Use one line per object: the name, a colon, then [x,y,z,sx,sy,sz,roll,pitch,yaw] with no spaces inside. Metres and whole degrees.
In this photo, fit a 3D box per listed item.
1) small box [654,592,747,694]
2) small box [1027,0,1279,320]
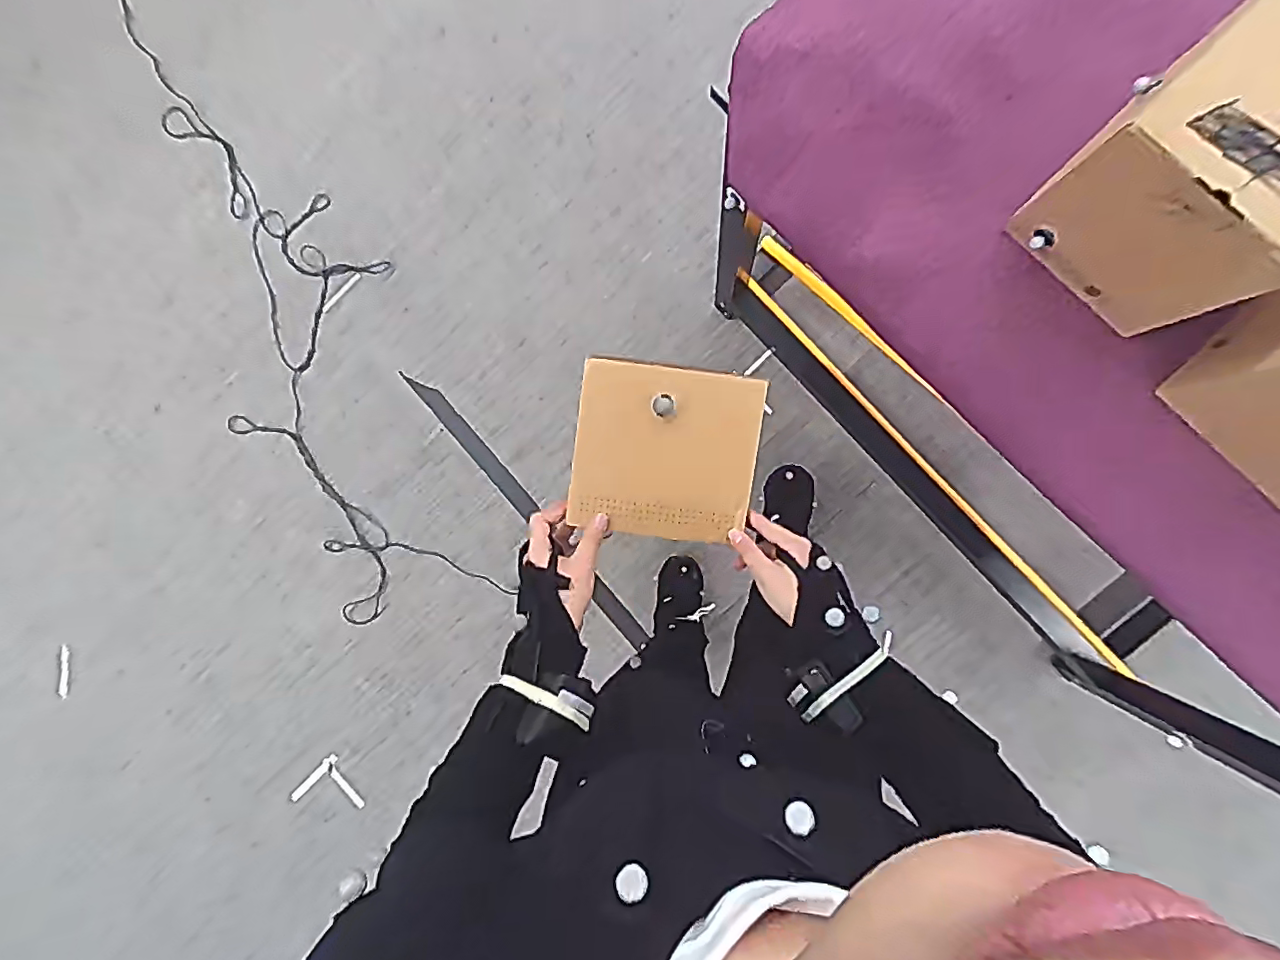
small box: [0.130,0.360,1.215,0.179,0.176,0.168,10,90,2]
small box: [0.476,-0.265,0.453,0.179,0.176,0.168,-45,87,3]
